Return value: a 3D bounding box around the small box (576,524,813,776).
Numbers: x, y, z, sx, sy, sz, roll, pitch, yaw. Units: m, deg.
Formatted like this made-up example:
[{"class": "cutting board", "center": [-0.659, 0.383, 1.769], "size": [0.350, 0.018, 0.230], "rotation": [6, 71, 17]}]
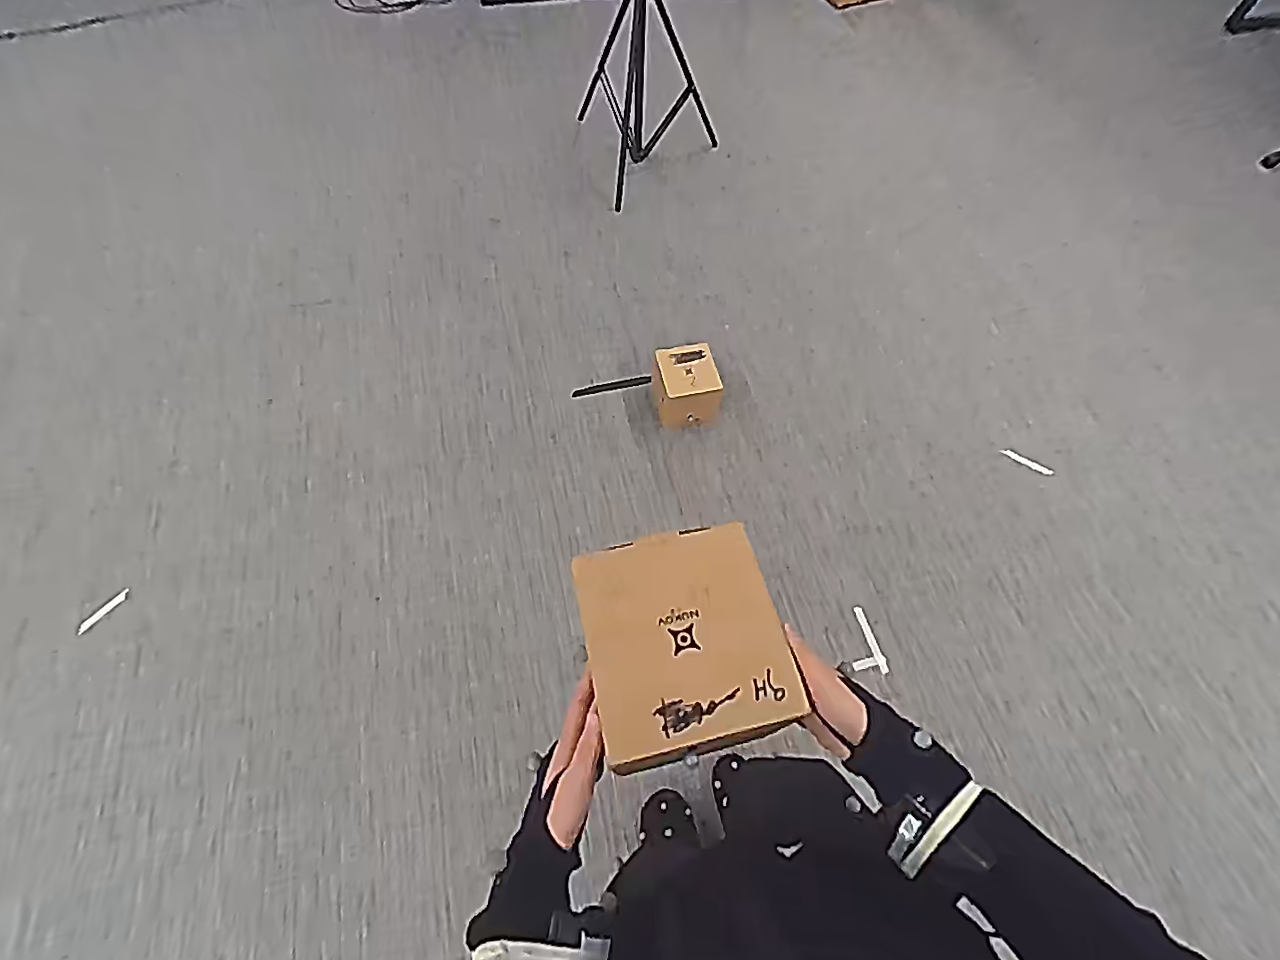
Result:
[{"class": "small box", "center": [0.037, 0.168, 0.522], "size": [0.168, 0.176, 0.179], "rotation": [-12, 60, -7]}]
